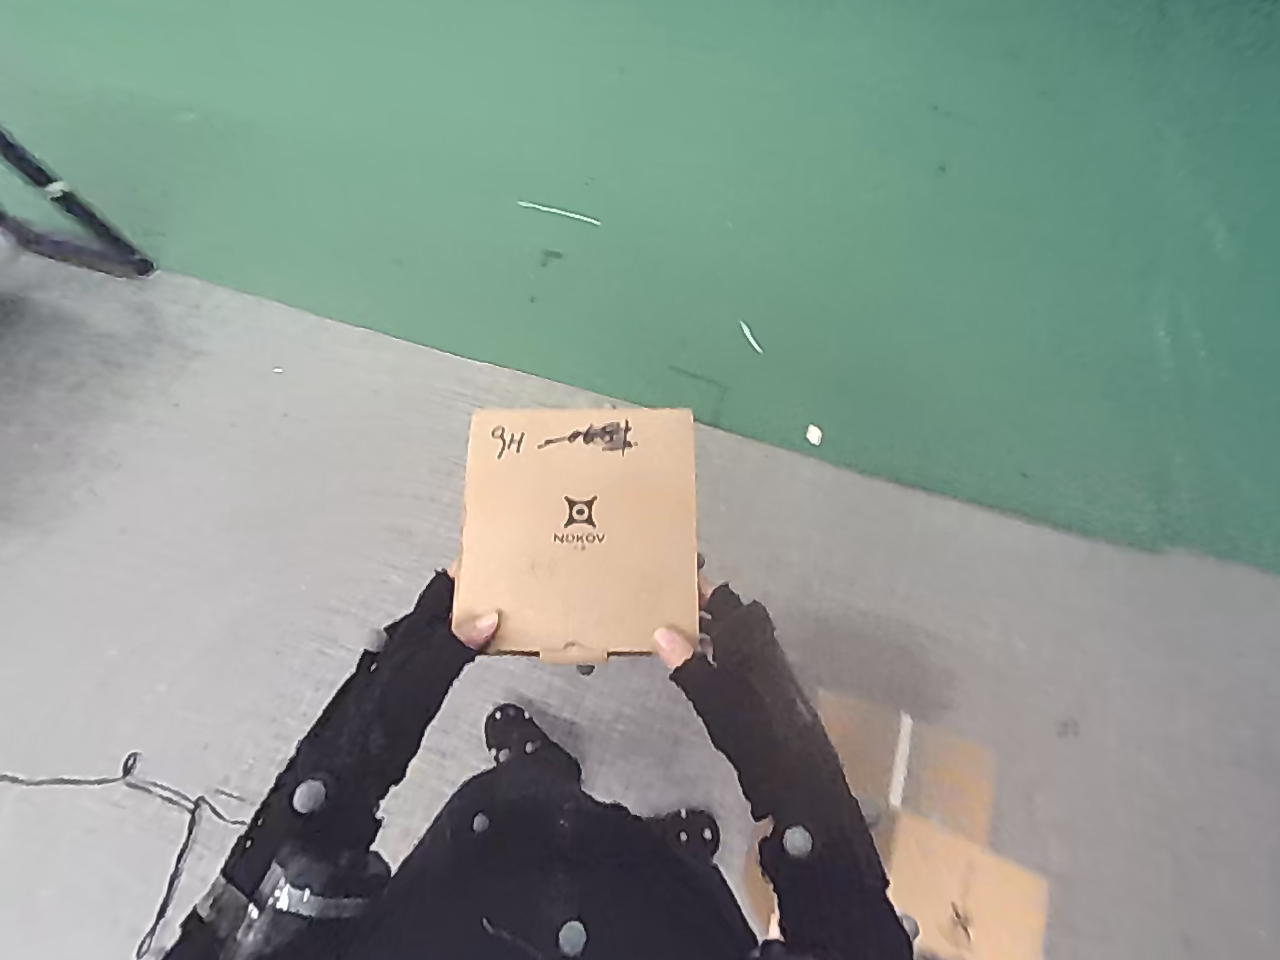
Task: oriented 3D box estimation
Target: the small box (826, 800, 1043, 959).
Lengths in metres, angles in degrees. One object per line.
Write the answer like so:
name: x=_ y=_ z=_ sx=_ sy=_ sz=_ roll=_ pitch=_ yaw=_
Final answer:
small box: x=0.344 y=0.526 z=0.662 sx=0.168 sy=0.176 sz=0.179 roll=22 pitch=68 yaw=12
